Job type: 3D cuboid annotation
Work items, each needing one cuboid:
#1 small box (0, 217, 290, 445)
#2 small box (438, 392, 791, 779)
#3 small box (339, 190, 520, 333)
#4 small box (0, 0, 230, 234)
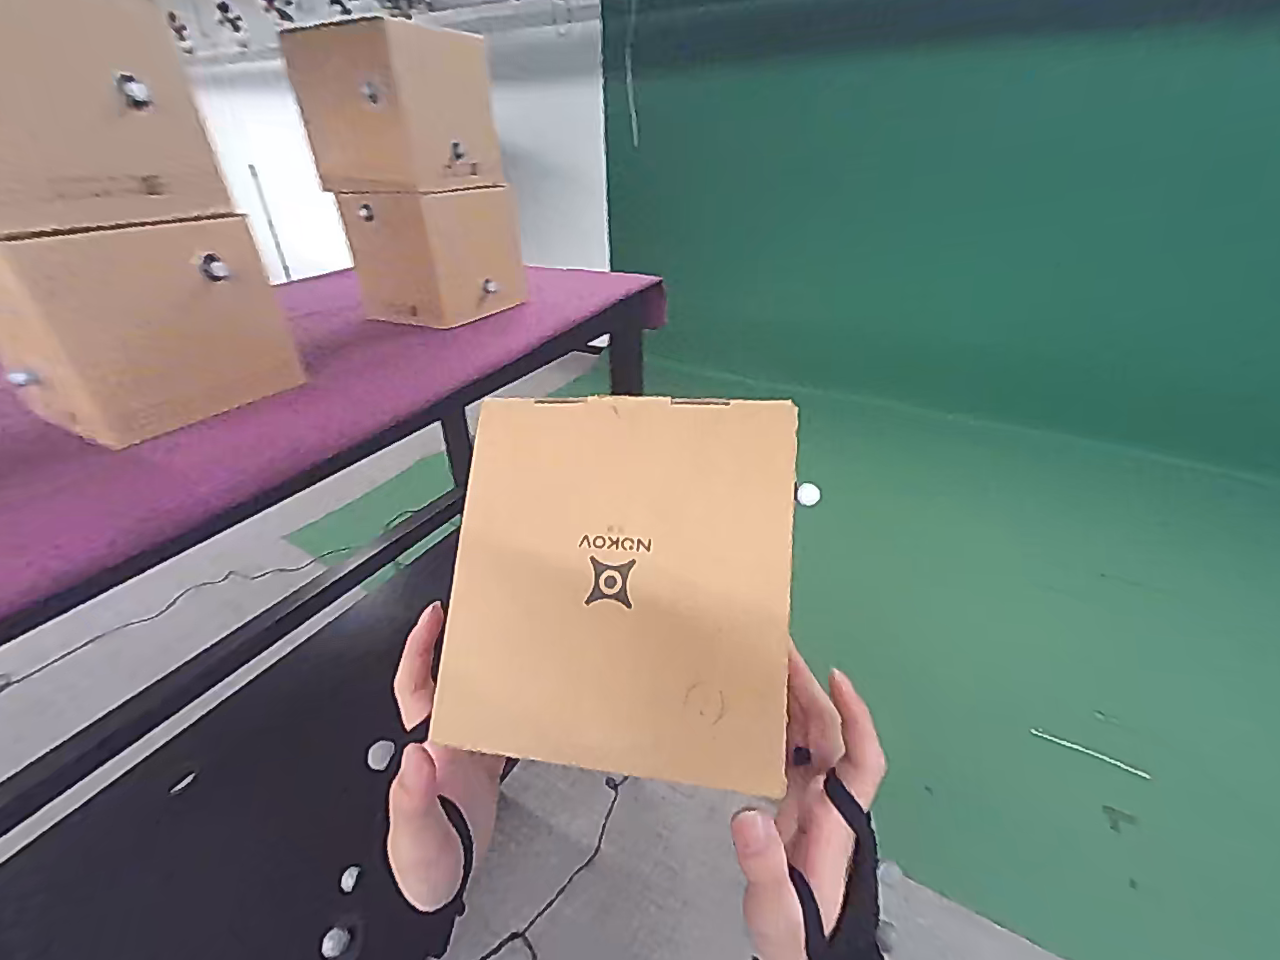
[{"bbox_3d":[-0.473,-0.154,0.516,0.168,0.176,0.179,15,35,25],"label":"small box"},{"bbox_3d":[0.005,0.057,0.339,0.168,0.179,0.176,2,-13,13],"label":"small box"},{"bbox_3d":[-0.294,-0.327,0.795,0.168,0.176,0.179,13,34,25],"label":"small box"},{"bbox_3d":[-0.483,-0.295,0.434,0.179,0.176,0.168,15,34,25],"label":"small box"}]
